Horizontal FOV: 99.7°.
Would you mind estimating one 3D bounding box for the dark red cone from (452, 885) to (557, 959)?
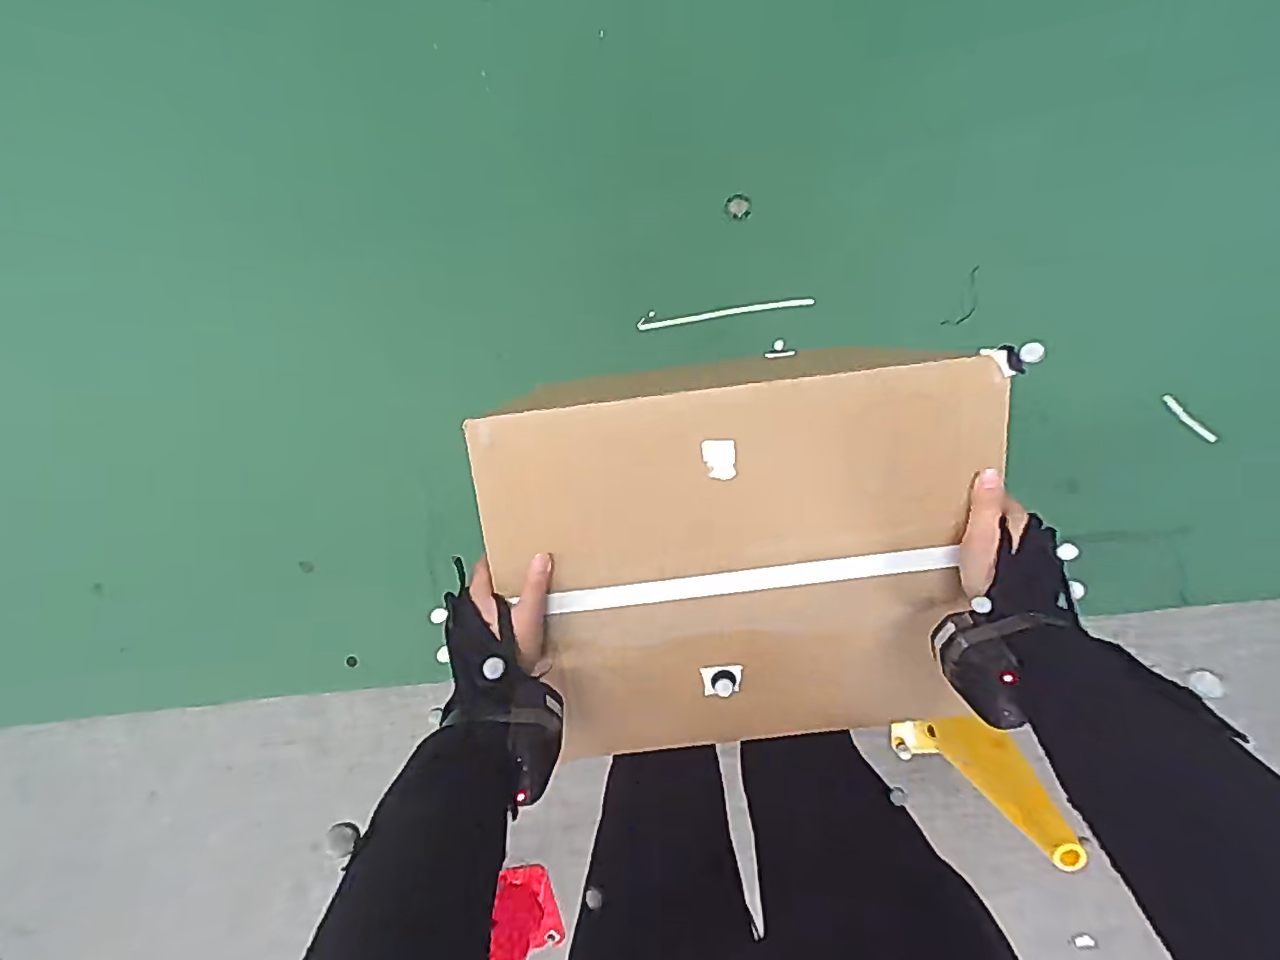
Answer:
[{"bbox_3d":[-0.306,0.973,0.986,0.202,0.394,0.201,-15,93,8],"label":"dark red cone"}]
